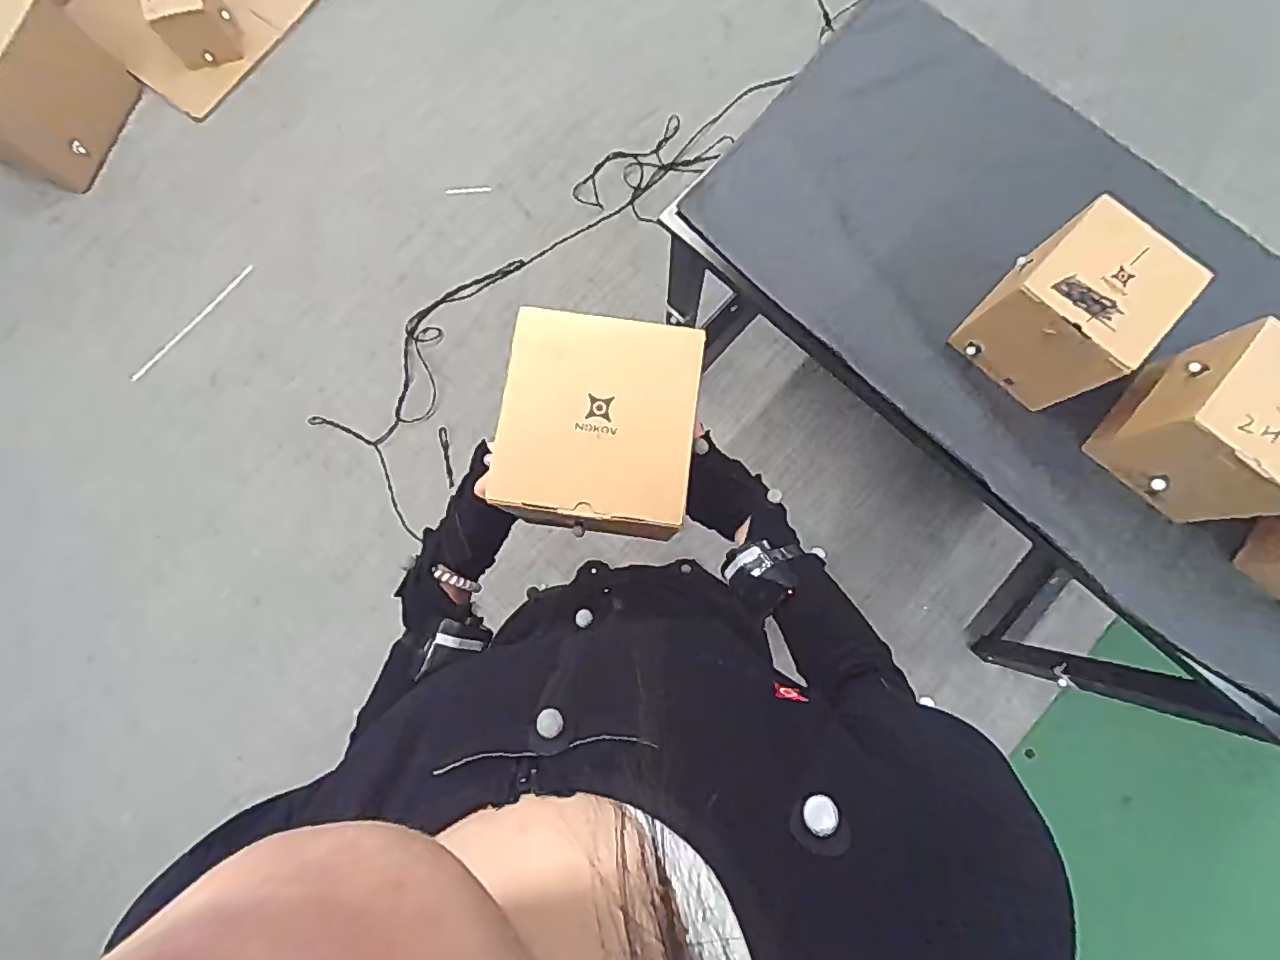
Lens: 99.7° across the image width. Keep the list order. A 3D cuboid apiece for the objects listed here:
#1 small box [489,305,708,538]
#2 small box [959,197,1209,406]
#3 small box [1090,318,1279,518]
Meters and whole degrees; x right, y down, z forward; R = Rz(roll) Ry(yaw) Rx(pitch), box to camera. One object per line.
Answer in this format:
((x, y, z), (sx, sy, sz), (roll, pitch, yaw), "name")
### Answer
((-0.036, -0.043, 0.532), (0.168, 0.176, 0.179), (7, 81, -1), "small box")
((0.582, -0.230, 0.741), (0.168, 0.176, 0.179), (43, 83, 6), "small box")
((0.761, -0.069, 0.712), (0.168, 0.176, 0.179), (41, 83, 7), "small box")
